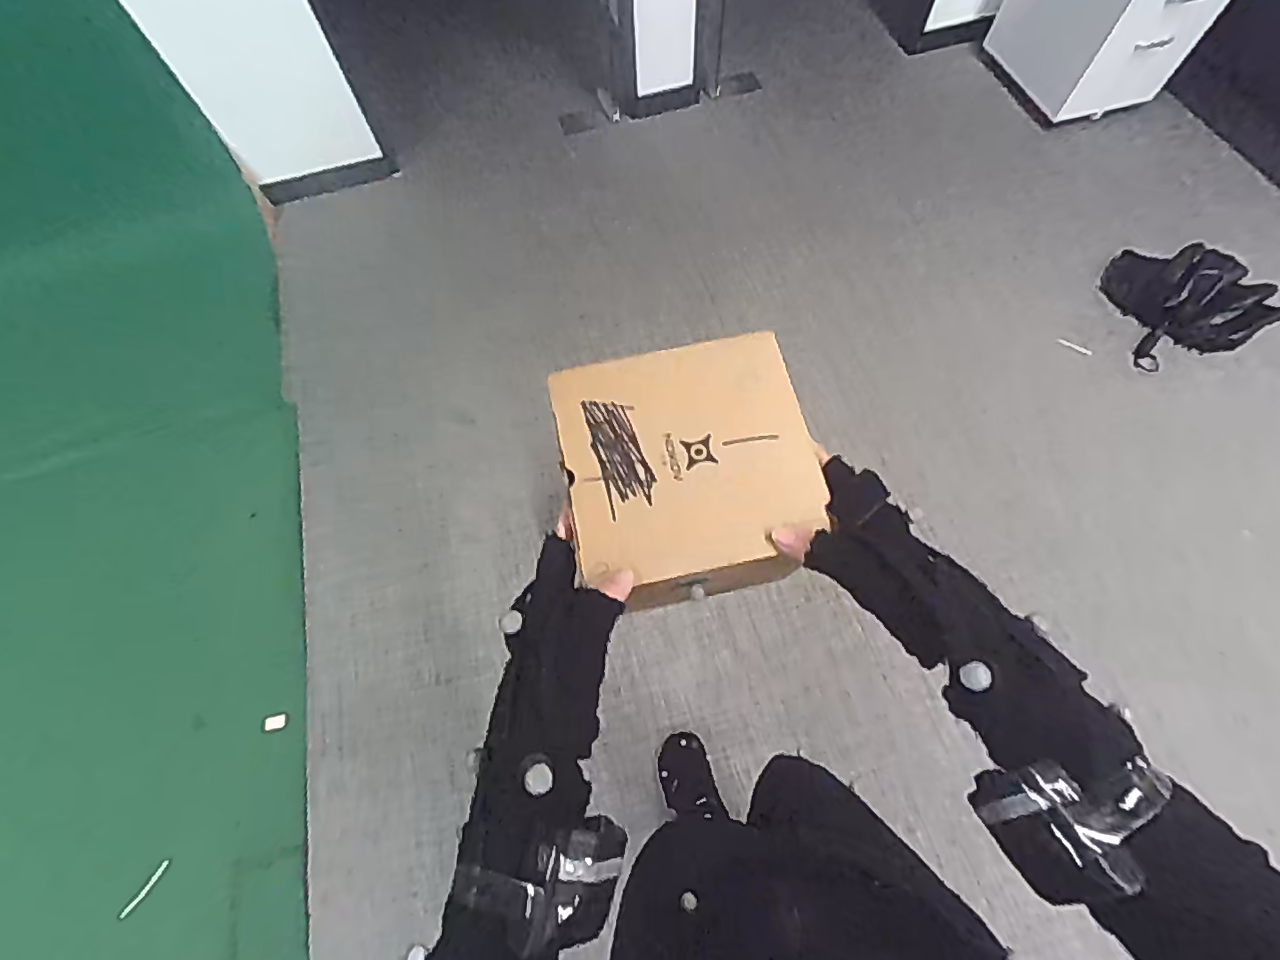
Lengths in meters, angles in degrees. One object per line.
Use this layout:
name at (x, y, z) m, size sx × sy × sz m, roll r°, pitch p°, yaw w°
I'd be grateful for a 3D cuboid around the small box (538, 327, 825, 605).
small box at (0.026, 0.002, 0.452) m, size 0.179 × 0.176 × 0.168 m, roll -11°, pitch 72°, yaw -2°
